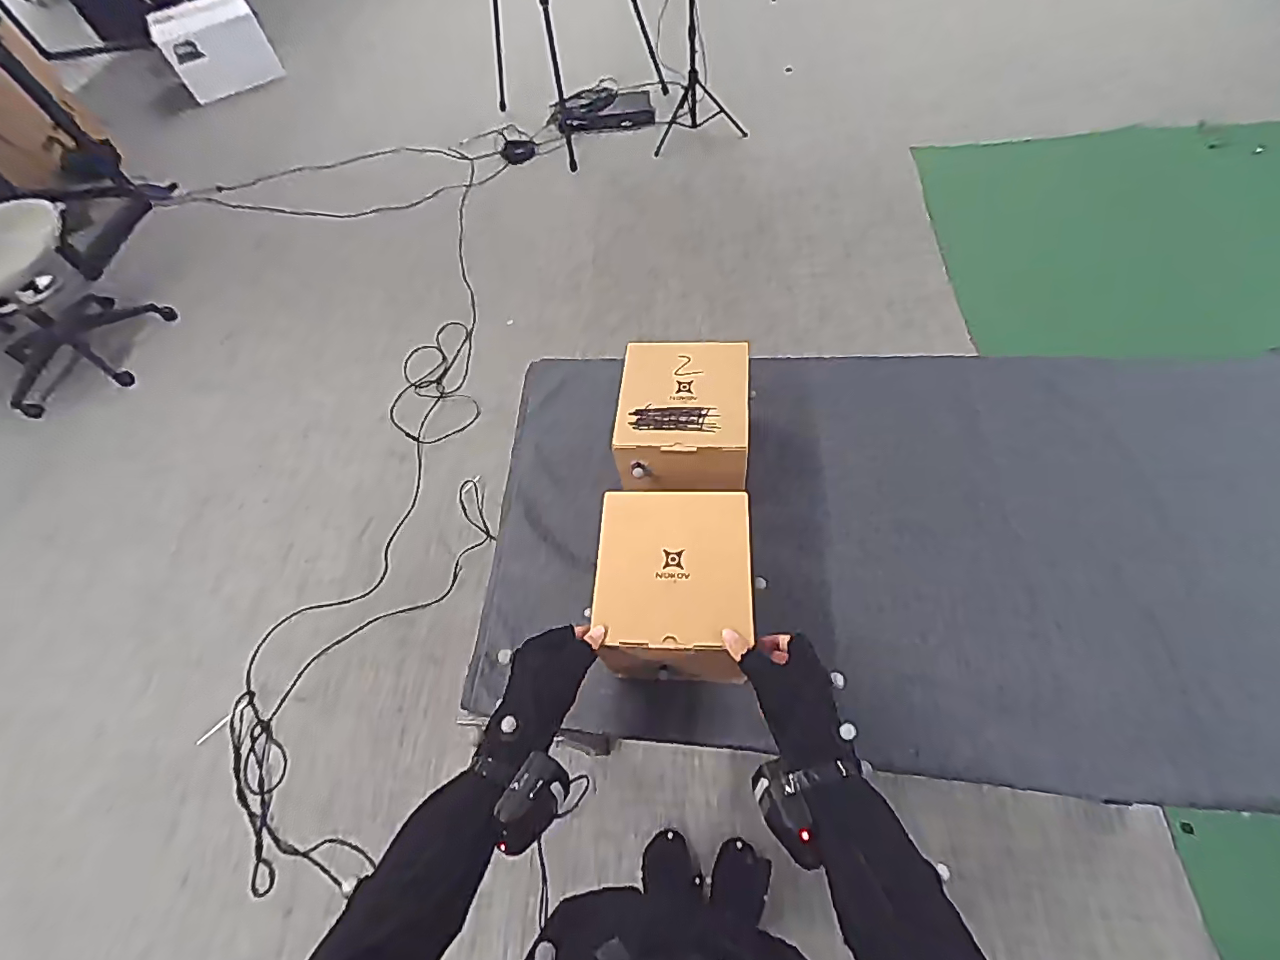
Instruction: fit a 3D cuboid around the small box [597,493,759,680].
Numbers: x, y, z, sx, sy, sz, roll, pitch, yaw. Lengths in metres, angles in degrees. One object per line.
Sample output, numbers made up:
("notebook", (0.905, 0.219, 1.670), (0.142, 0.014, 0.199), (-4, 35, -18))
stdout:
("small box", (0.049, 0.130, 0.649), (0.168, 0.176, 0.179), (0, 60, 7))
